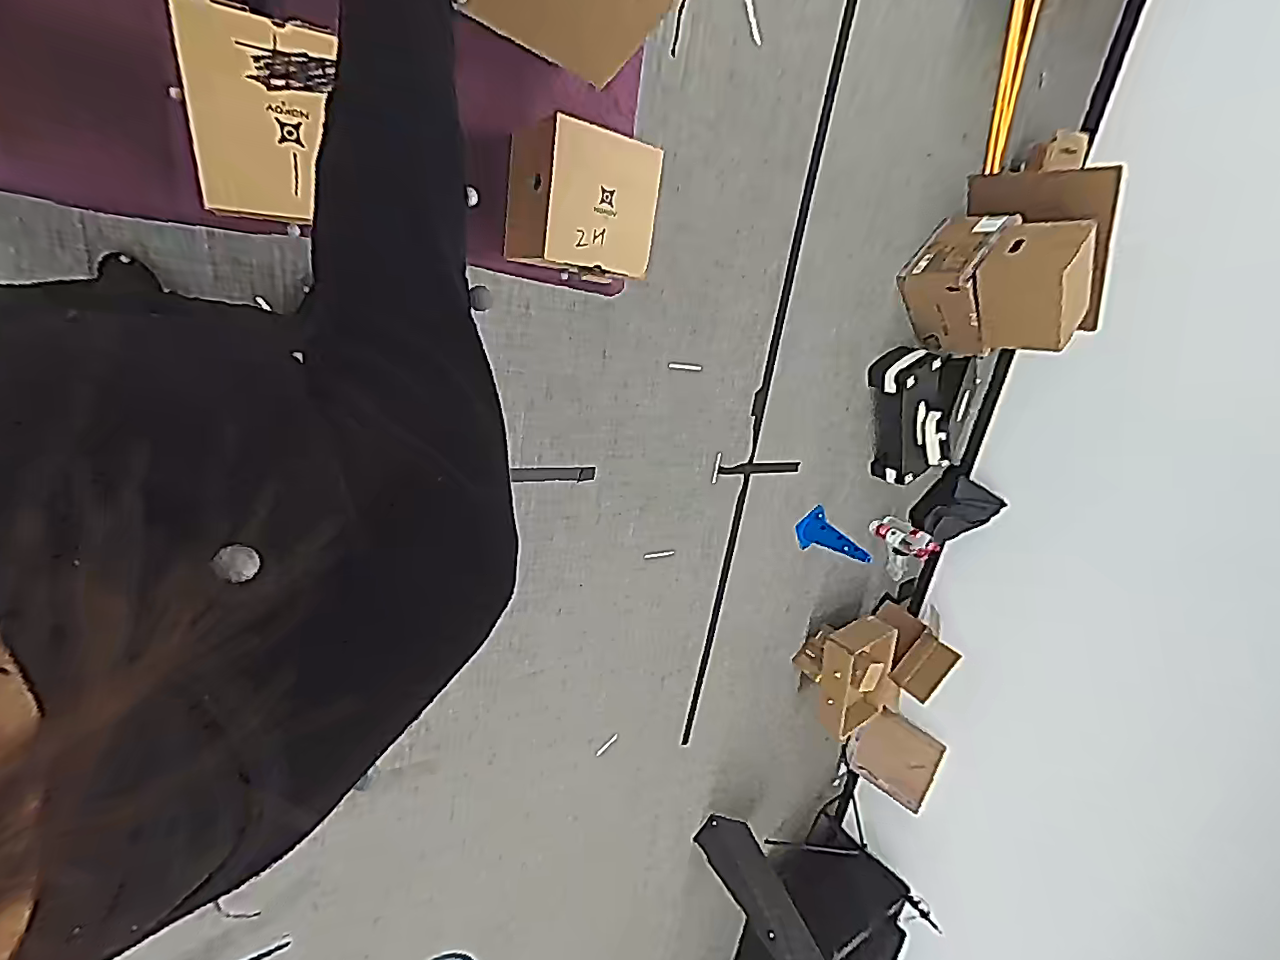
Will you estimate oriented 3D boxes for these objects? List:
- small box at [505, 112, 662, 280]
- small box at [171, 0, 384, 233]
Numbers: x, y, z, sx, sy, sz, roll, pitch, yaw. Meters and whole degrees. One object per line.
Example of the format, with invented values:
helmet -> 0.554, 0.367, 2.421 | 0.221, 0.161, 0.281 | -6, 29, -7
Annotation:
small box -> -0.092, -0.404, 0.799 | 0.168, 0.176, 0.179 | -2, 111, -33
small box -> -0.394, -0.381, 0.603 | 0.168, 0.176, 0.179 | -8, 115, -31
